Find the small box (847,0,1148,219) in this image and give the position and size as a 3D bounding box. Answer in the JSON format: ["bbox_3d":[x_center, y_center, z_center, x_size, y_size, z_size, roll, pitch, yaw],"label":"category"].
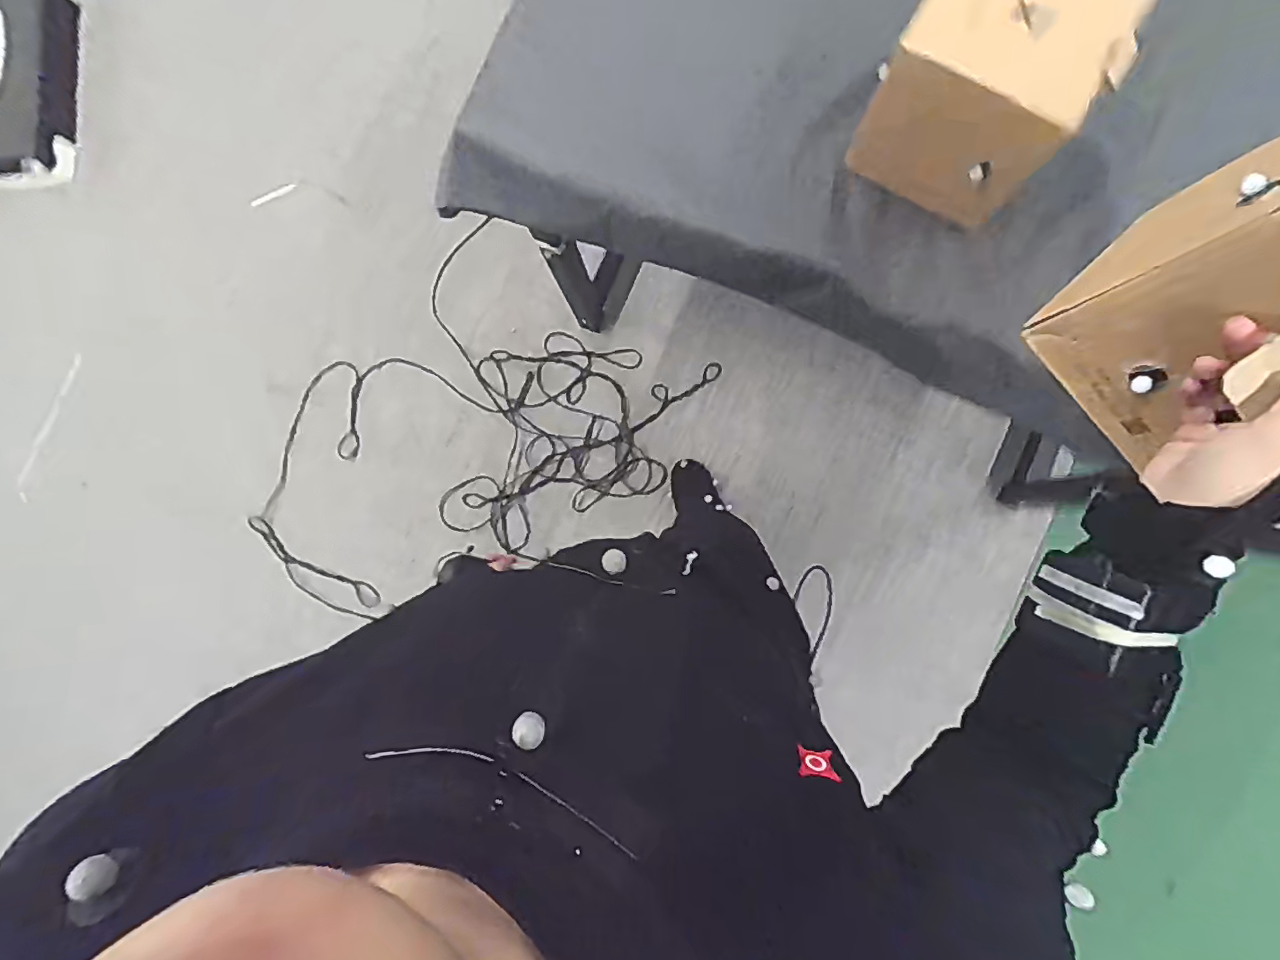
[{"bbox_3d":[0.353,-0.411,0.567,0.179,0.176,0.168,30,87,7],"label":"small box"}]
